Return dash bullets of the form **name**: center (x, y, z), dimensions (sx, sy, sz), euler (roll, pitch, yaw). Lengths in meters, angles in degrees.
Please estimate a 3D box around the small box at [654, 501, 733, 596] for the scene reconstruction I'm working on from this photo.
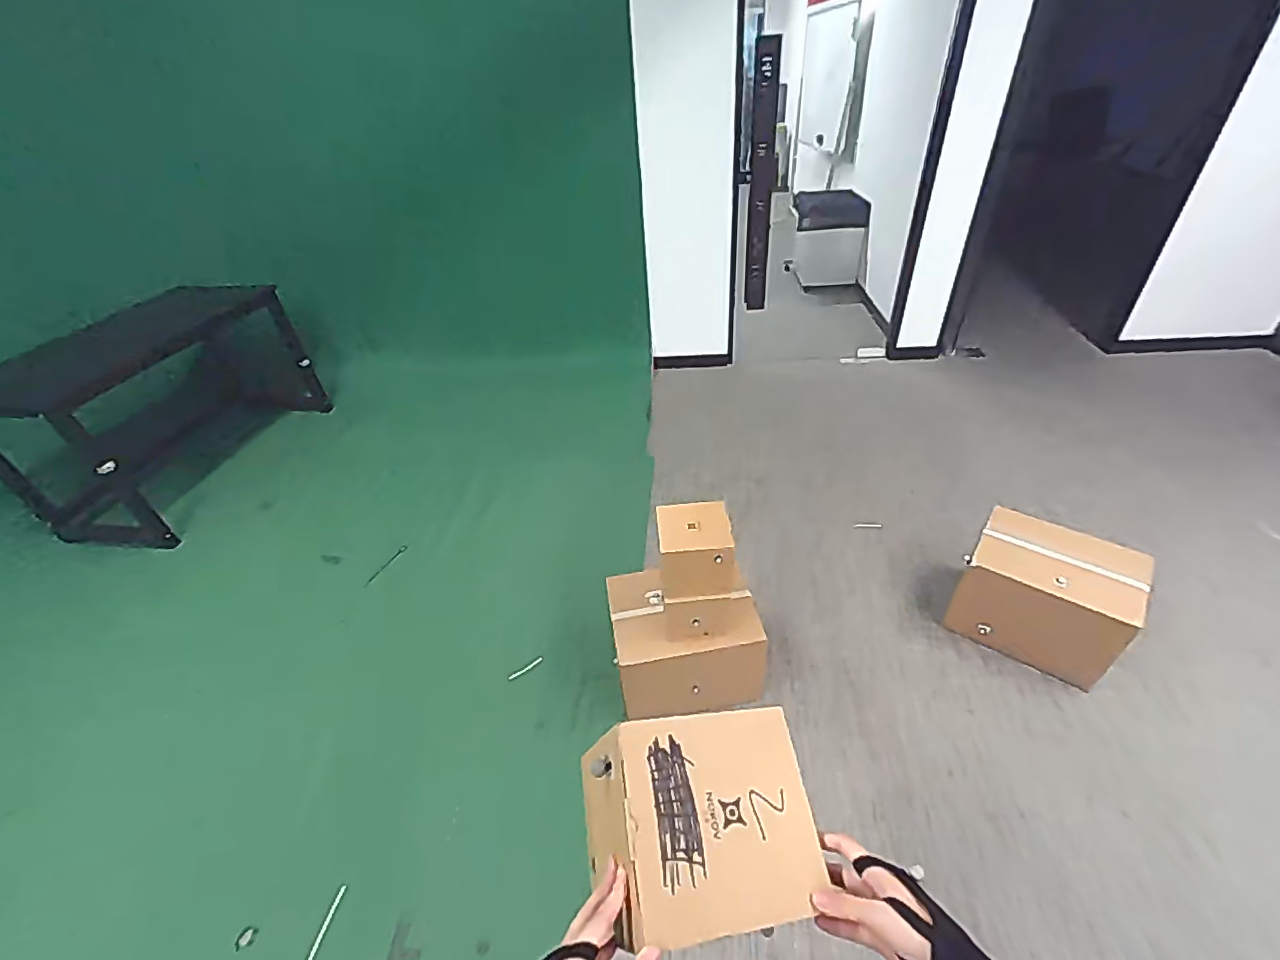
- **small box**: center (0.131, 0.172, 1.346), dimensions (0.179, 0.176, 0.168), euler (-4, 39, 0)

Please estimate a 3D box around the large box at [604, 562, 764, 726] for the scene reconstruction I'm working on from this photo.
- **large box**: center (0.124, 0.482, 1.615), dimensions (0.408, 0.320, 0.320), euler (-10, 37, -4)

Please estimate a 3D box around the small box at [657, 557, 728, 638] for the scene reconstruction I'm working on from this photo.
- **small box**: center (0.138, 0.304, 1.441), dimensions (0.168, 0.176, 0.179), euler (-5, 38, -1)
